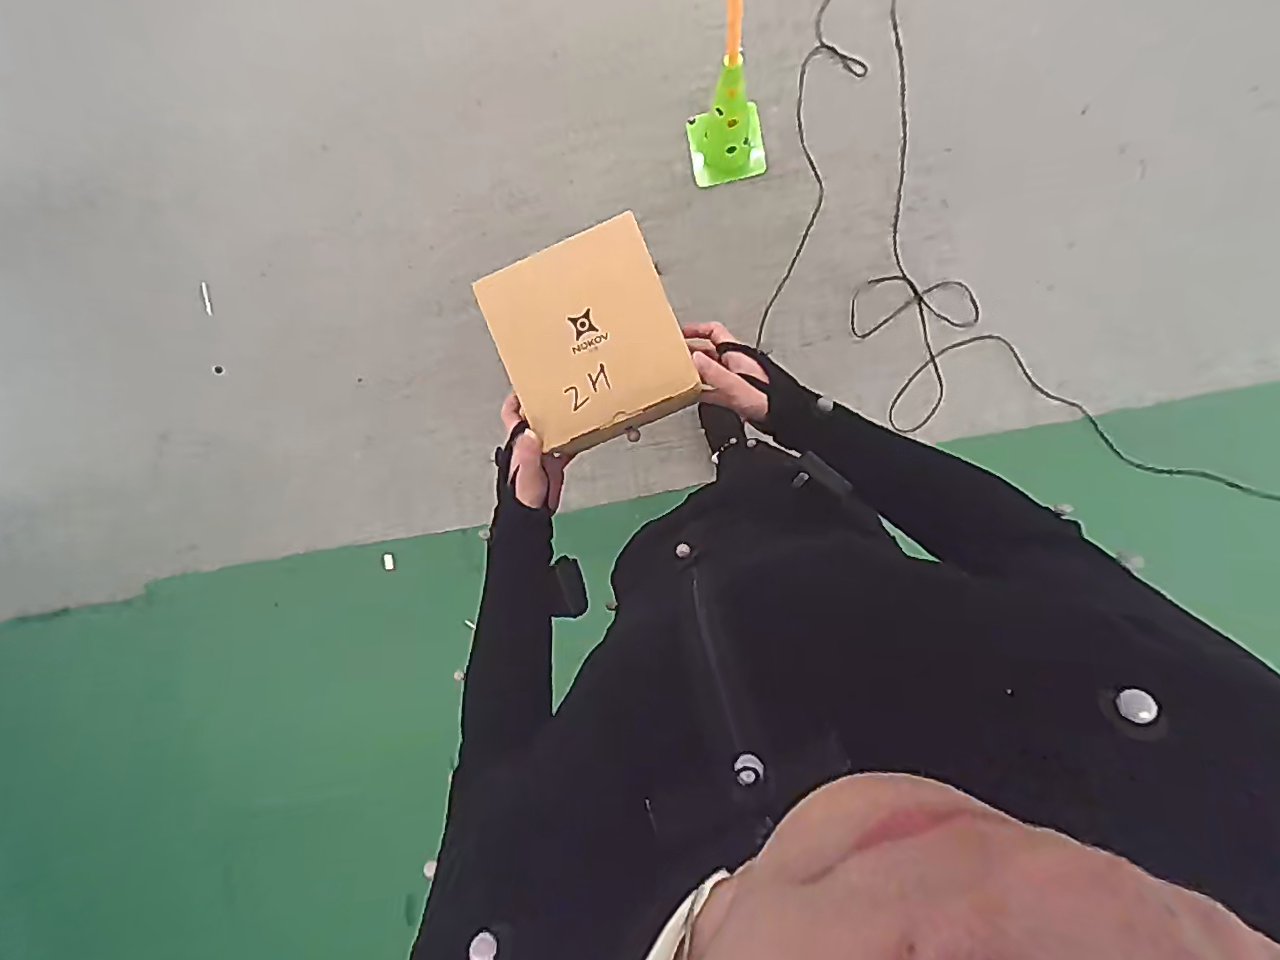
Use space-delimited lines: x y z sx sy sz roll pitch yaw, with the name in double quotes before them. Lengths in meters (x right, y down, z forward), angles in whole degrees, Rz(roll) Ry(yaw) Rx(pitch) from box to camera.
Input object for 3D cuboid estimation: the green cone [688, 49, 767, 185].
"green cone" 0.232 -0.937 1.363 0.202 0.368 0.200 -10 94 6
